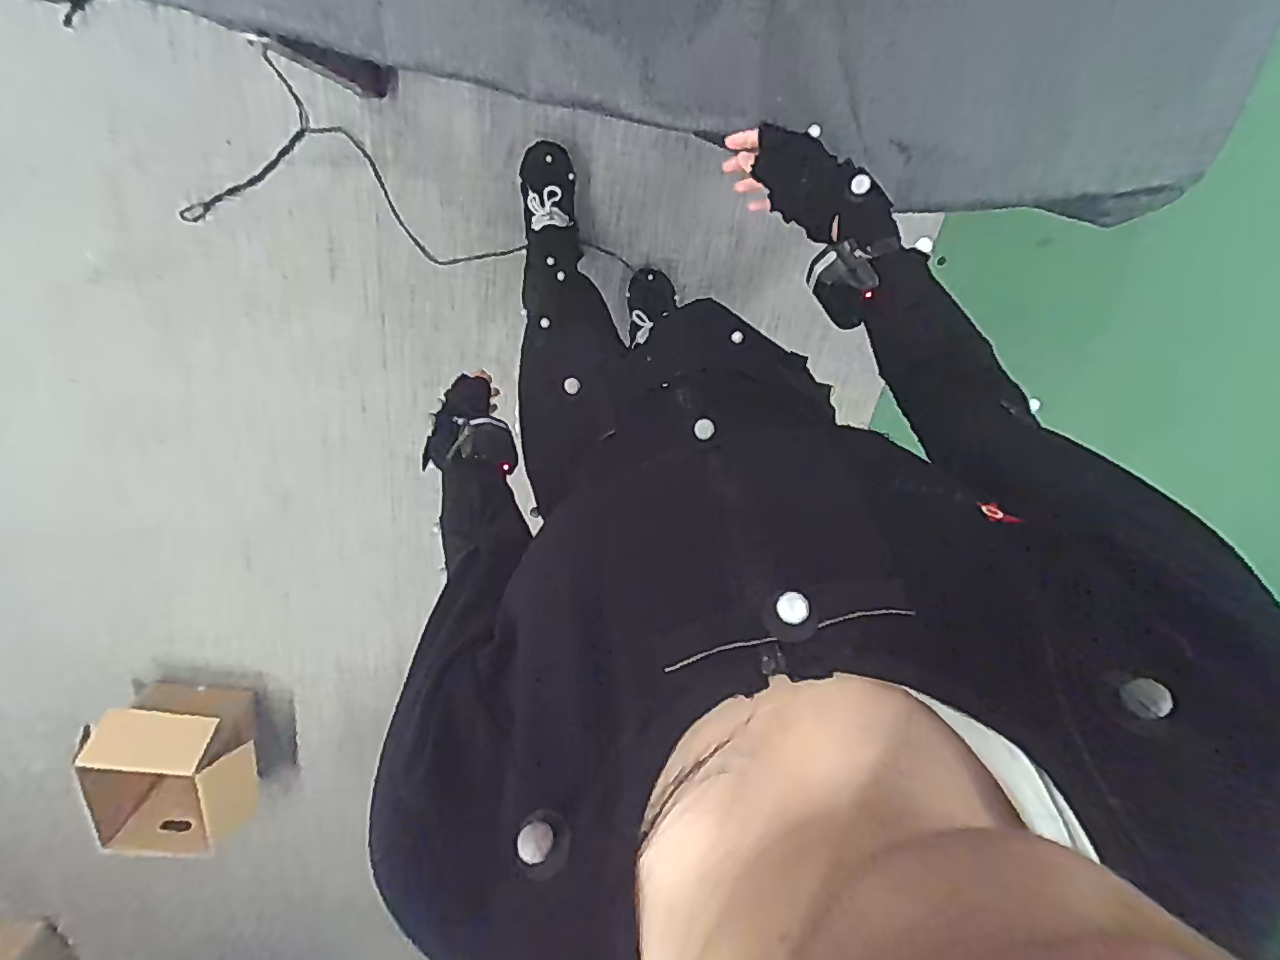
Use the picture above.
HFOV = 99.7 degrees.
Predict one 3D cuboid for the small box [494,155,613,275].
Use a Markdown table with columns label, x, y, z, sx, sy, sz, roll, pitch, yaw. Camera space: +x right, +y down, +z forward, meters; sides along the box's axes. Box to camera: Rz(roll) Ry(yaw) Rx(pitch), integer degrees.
| label | x | y | z | sx | sy | sz | roll | pitch | yaw |
| --- | --- | --- | --- | --- | --- | --- | --- | --- | --- |
| small box | -0.191 | -0.572 | 1.175 | 0.179 | 0.176 | 0.168 | 42 | 120 | -6 |
